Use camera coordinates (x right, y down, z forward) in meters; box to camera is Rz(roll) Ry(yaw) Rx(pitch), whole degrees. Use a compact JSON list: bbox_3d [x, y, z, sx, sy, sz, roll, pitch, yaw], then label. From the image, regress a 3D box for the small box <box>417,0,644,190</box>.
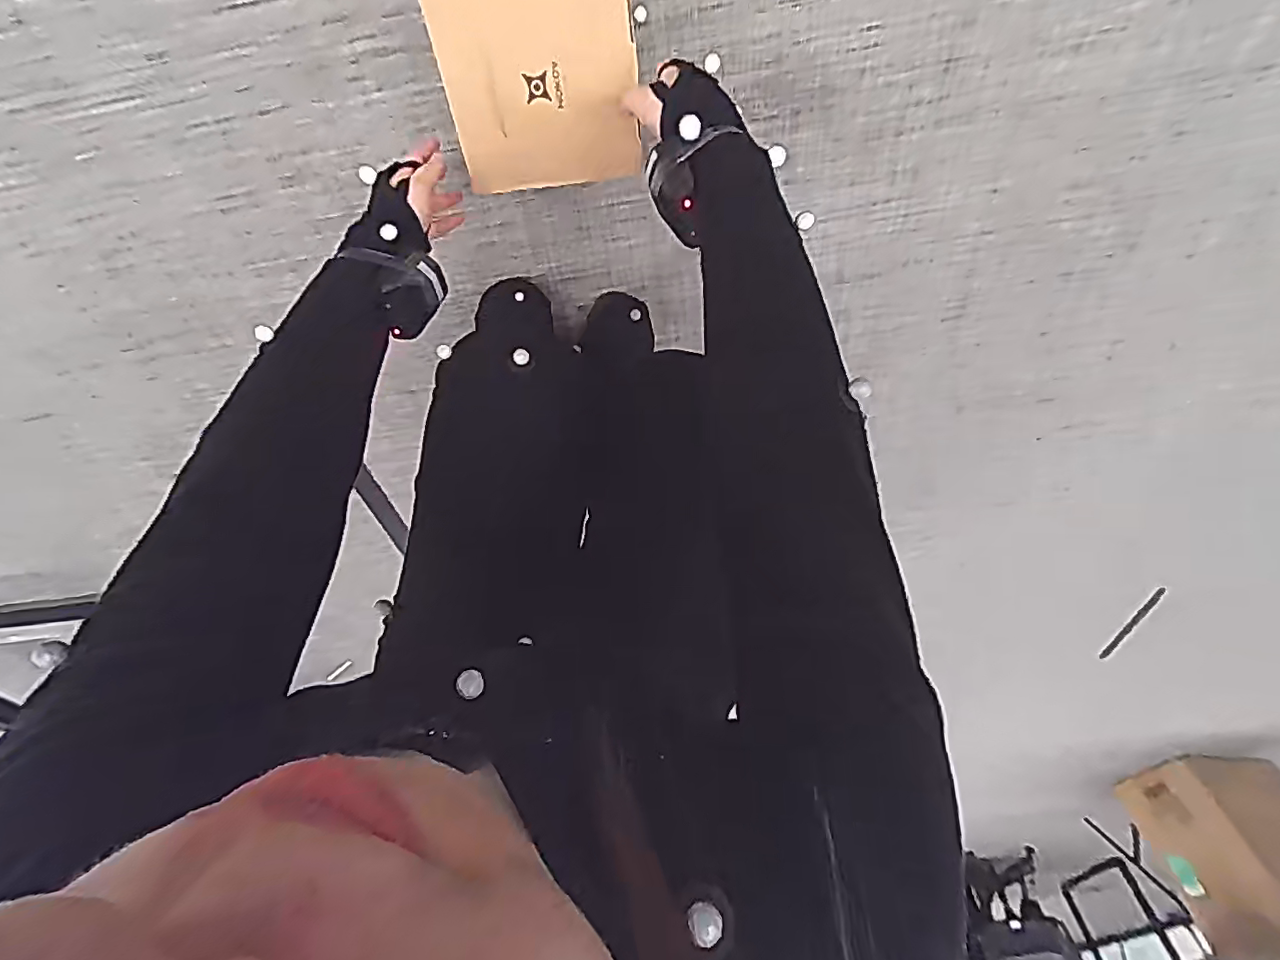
[{"bbox_3d":[-0.093,-0.407,0.533,0.179,0.176,0.168,-5,134,2],"label":"small box"}]
